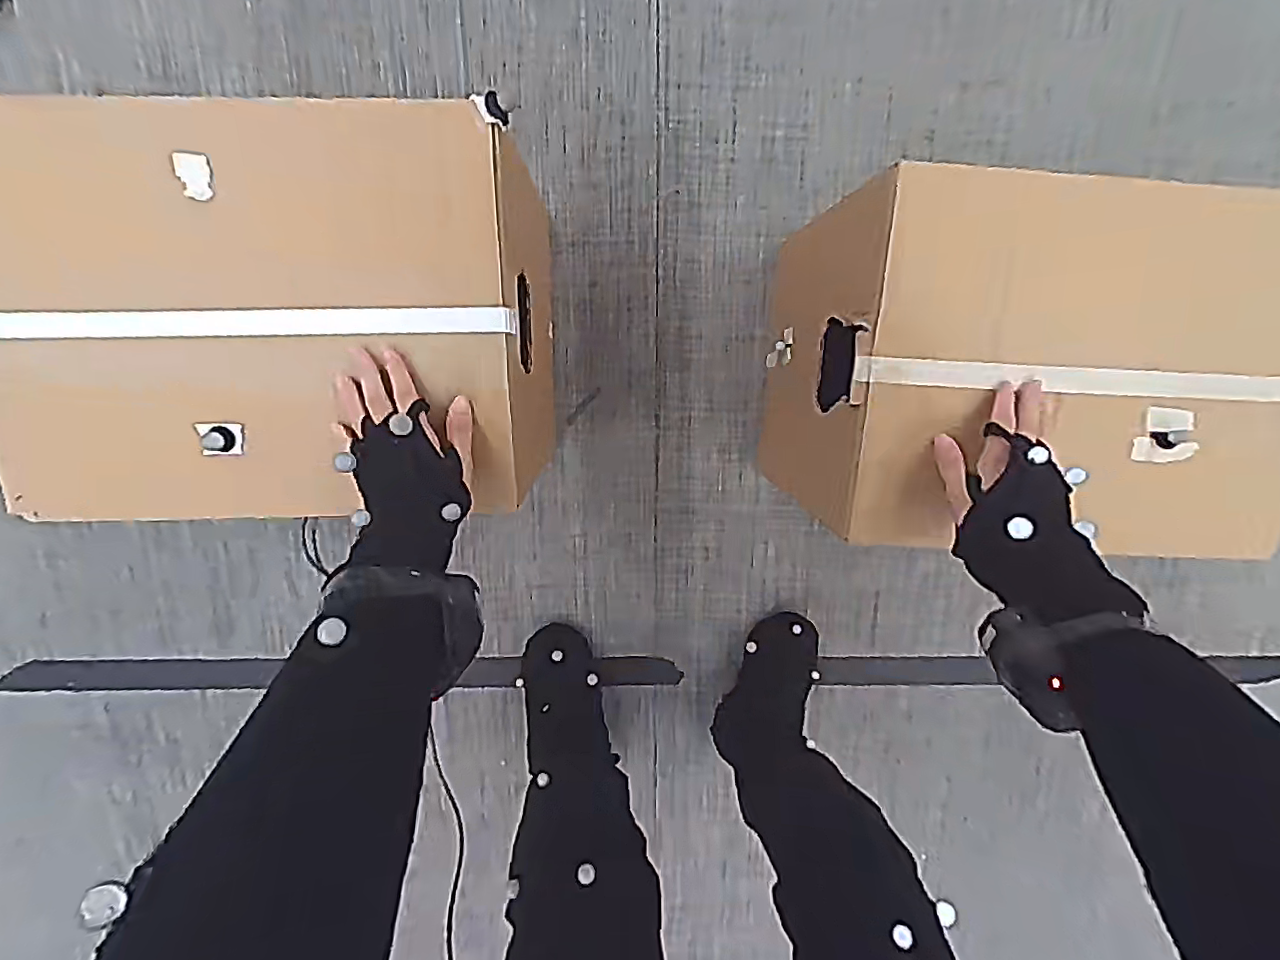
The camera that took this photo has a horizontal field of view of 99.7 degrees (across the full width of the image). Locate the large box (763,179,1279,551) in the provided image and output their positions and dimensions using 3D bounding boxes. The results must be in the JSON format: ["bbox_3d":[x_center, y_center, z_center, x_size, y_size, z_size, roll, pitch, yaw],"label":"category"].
[{"bbox_3d":[0.385,-0.117,0.621,0.408,0.320,0.320,3,103,-4],"label":"large box"}]
